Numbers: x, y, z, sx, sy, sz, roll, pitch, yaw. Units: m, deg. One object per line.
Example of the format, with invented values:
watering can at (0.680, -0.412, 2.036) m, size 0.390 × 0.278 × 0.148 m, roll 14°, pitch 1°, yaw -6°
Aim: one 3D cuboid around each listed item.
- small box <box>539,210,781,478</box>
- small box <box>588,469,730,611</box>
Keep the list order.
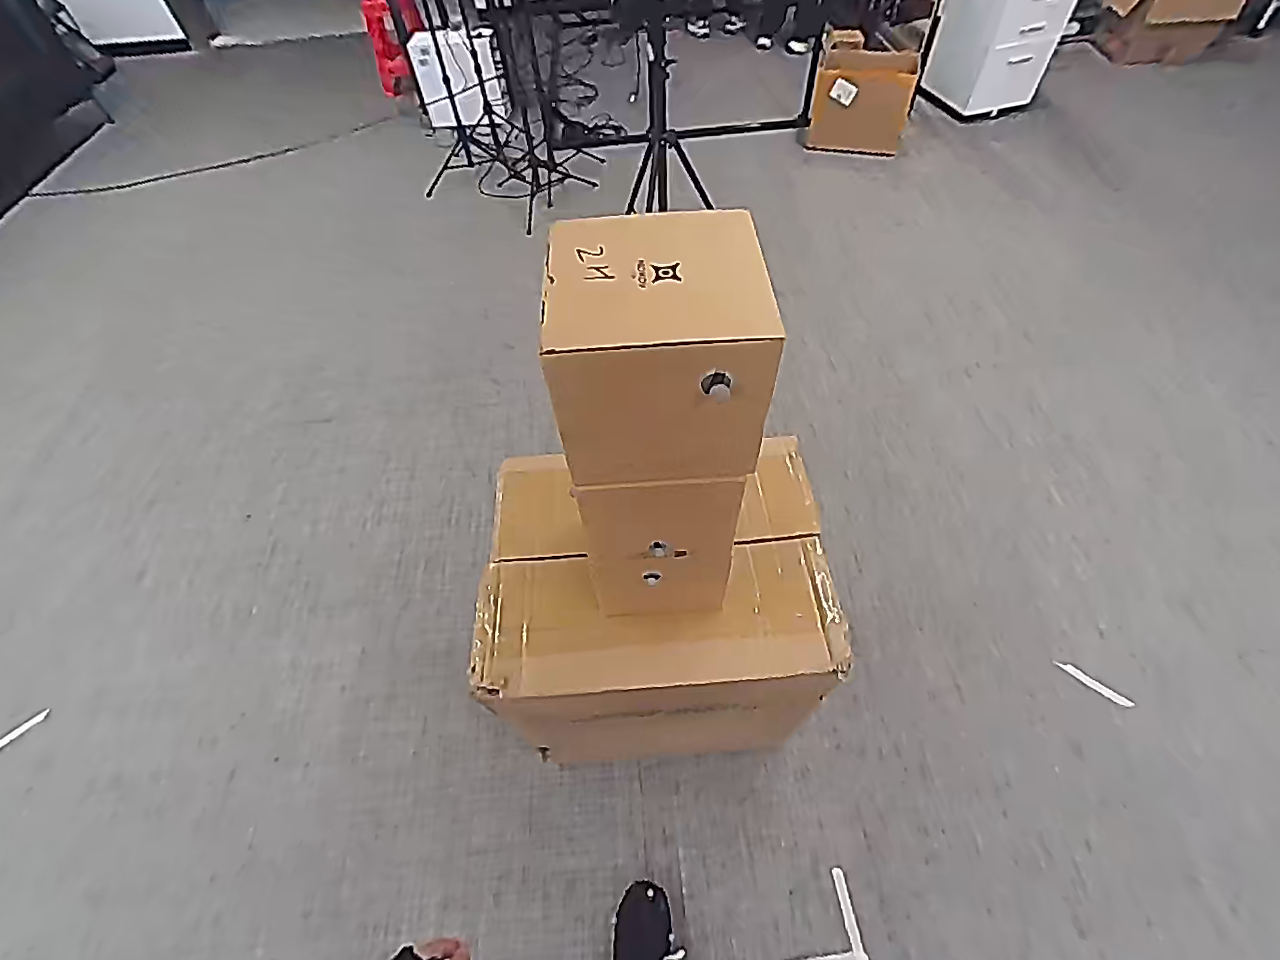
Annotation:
small box at (0.014, -0.116, 0.492) m, size 0.179 × 0.176 × 0.168 m, roll -4°, pitch 55°, yaw 1°
small box at (0.025, 0.076, 0.760) m, size 0.179 × 0.176 × 0.168 m, roll -3°, pitch 55°, yaw 1°
